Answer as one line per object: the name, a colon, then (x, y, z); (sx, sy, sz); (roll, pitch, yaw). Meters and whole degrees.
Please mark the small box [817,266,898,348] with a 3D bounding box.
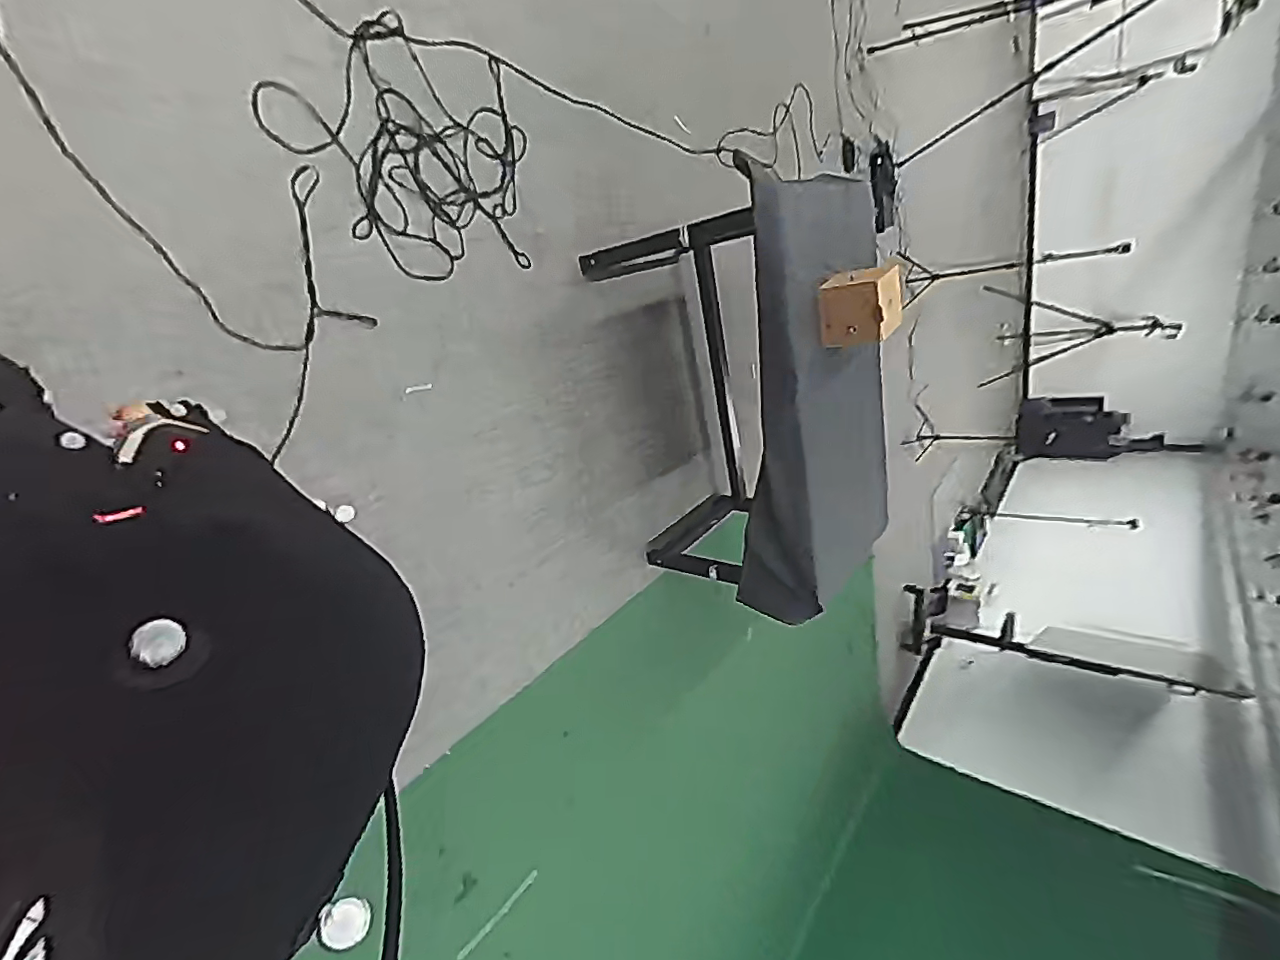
small box: (0.602, -0.478, 1.507); (0.179, 0.176, 0.168); (-42, 125, -40)
